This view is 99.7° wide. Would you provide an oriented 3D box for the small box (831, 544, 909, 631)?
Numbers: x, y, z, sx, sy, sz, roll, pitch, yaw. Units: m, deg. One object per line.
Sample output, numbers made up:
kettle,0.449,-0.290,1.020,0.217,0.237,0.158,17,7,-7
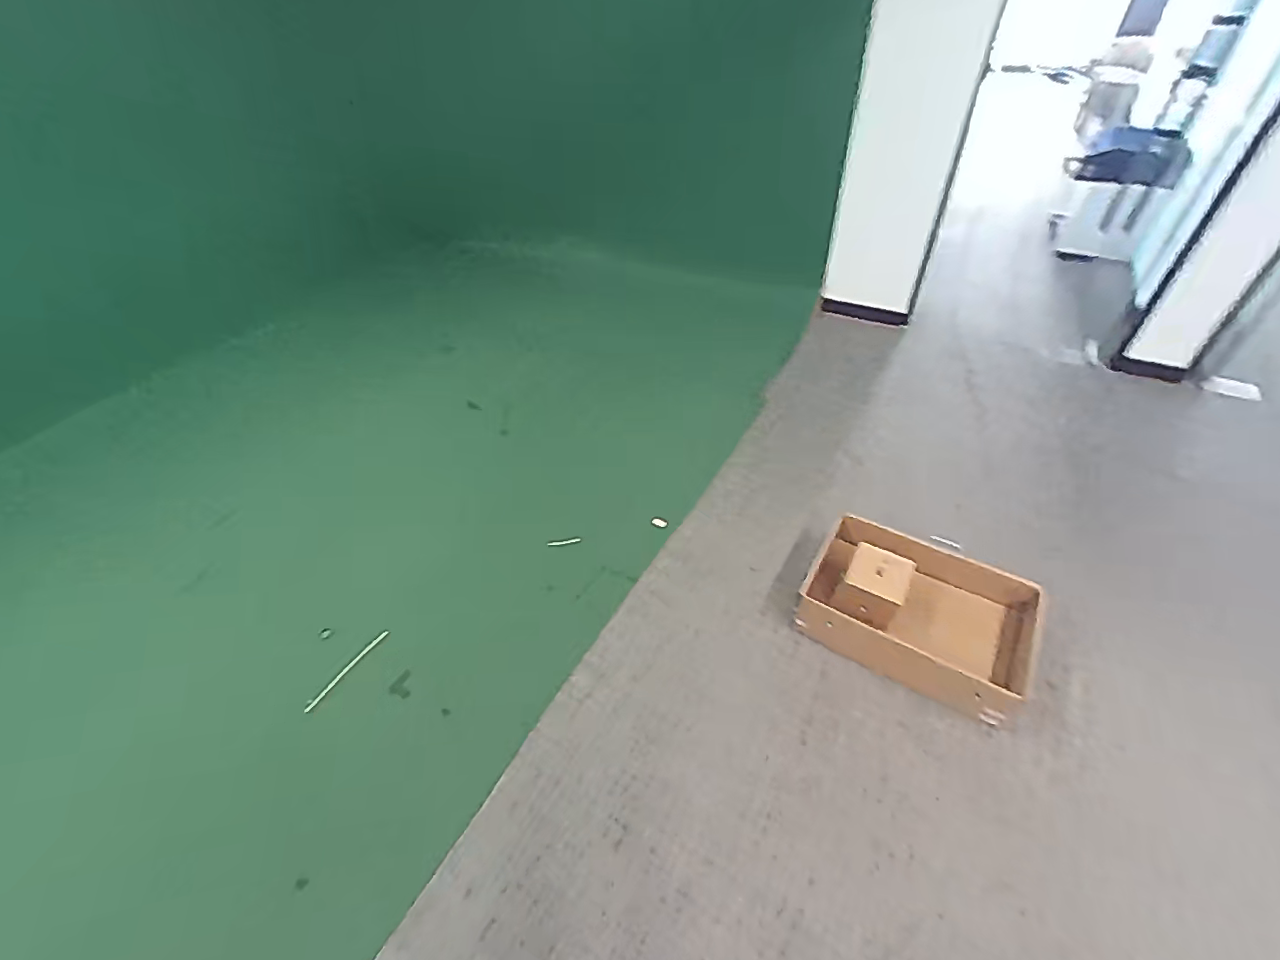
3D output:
small box,0.715,0.340,1.695,0.168,0.176,0.179,23,51,23
